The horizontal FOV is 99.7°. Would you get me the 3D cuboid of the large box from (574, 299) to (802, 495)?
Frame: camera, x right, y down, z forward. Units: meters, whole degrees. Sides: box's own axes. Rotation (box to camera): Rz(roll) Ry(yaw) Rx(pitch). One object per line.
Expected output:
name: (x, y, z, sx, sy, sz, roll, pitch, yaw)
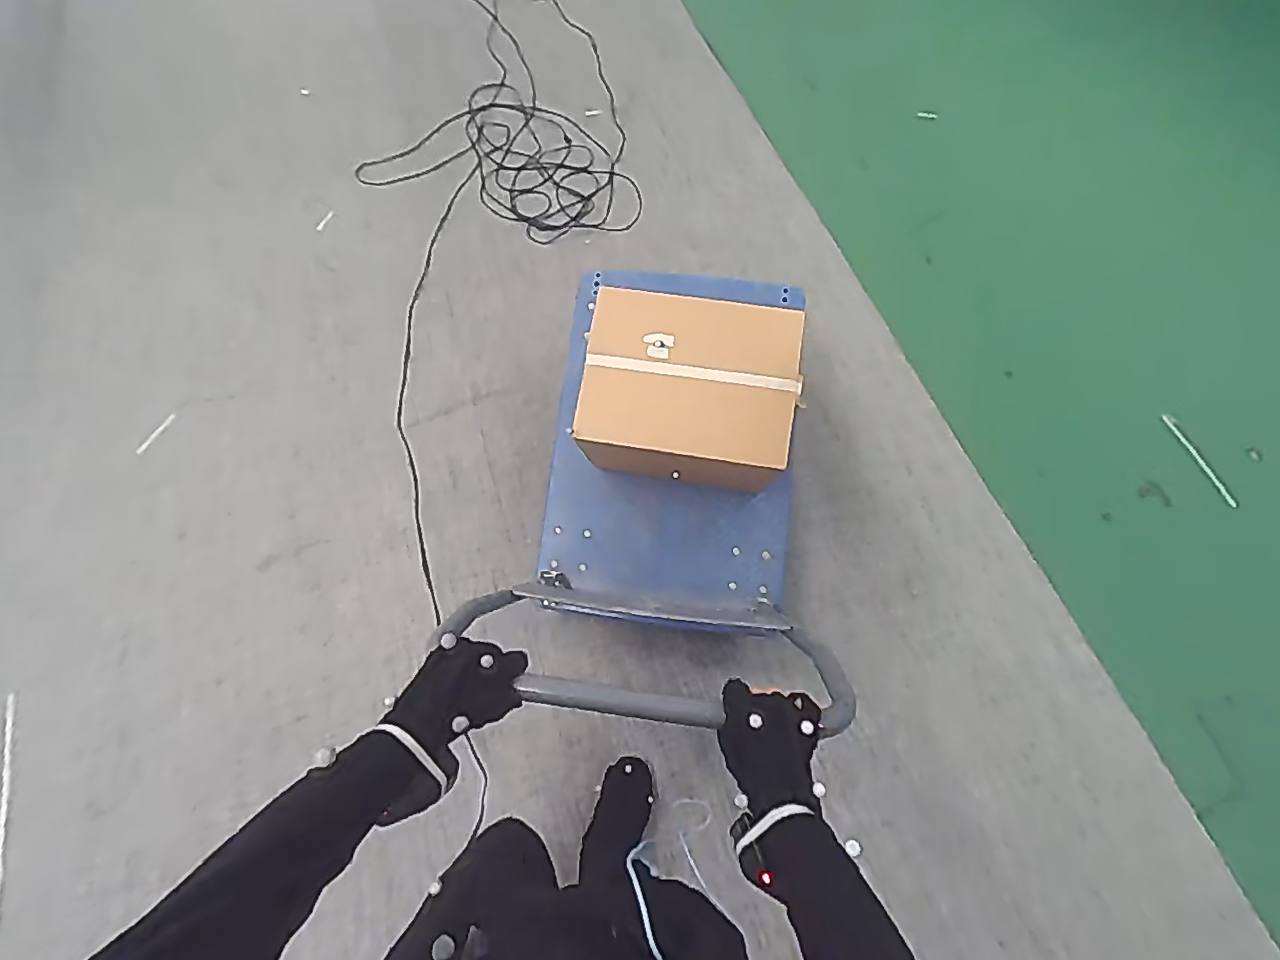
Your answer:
large box: (0.106, -0.159, 1.173, 0.408, 0.320, 0.320, 9, 81, 6)
